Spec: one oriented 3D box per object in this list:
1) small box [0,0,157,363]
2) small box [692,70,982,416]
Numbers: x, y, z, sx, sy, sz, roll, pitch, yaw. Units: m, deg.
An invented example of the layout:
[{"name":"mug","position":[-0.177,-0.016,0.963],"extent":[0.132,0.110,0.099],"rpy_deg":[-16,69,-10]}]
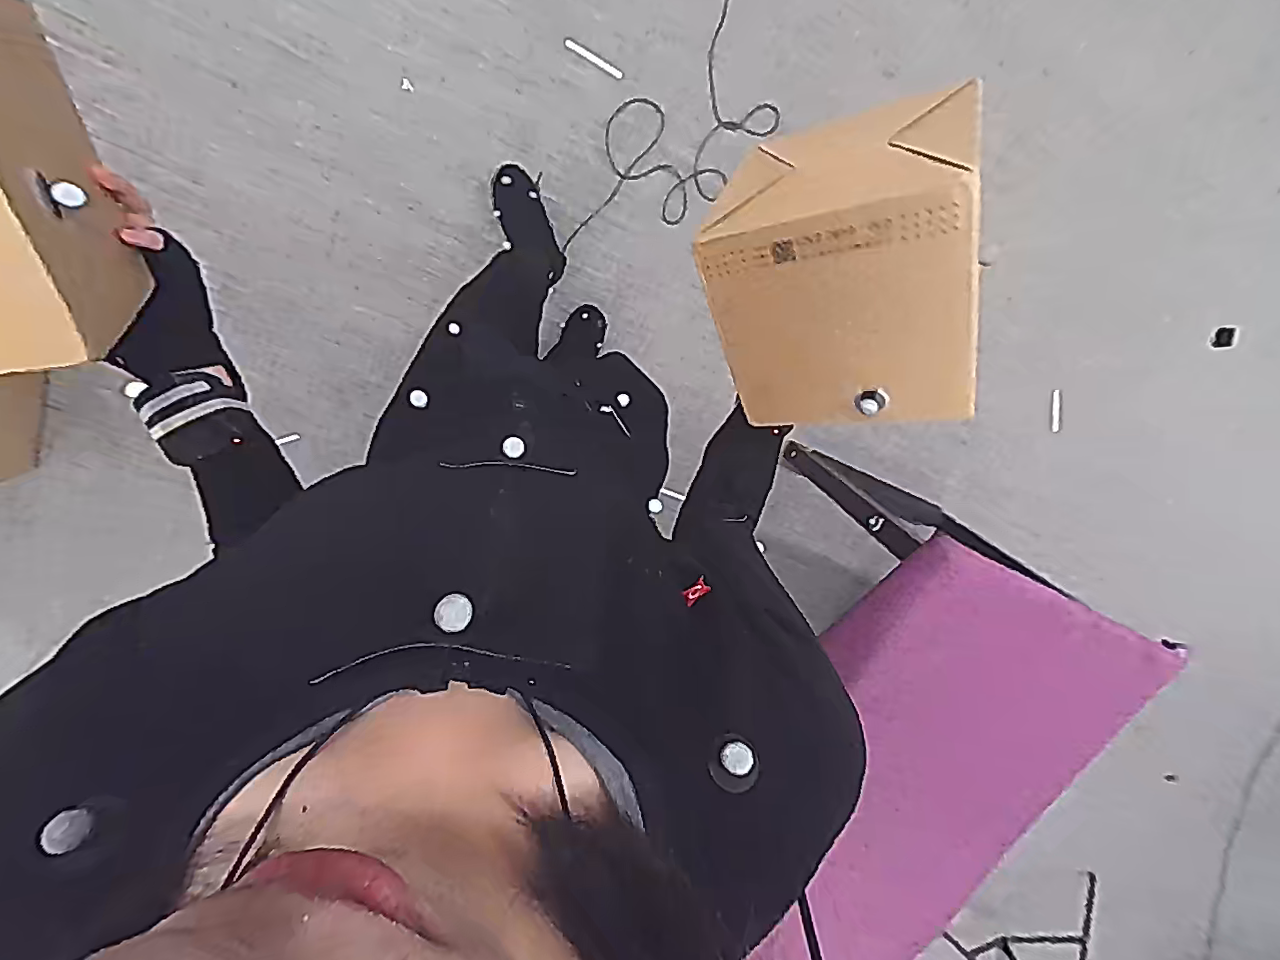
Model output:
[{"name":"small box","position":[-0.397,-0.160,0.271],"extent":[0.168,0.179,0.176],"rpy_deg":[-13,128,-23]},{"name":"small box","position":[0.160,-0.171,0.409],"extent":[0.168,0.179,0.176],"rpy_deg":[1,137,34]}]
